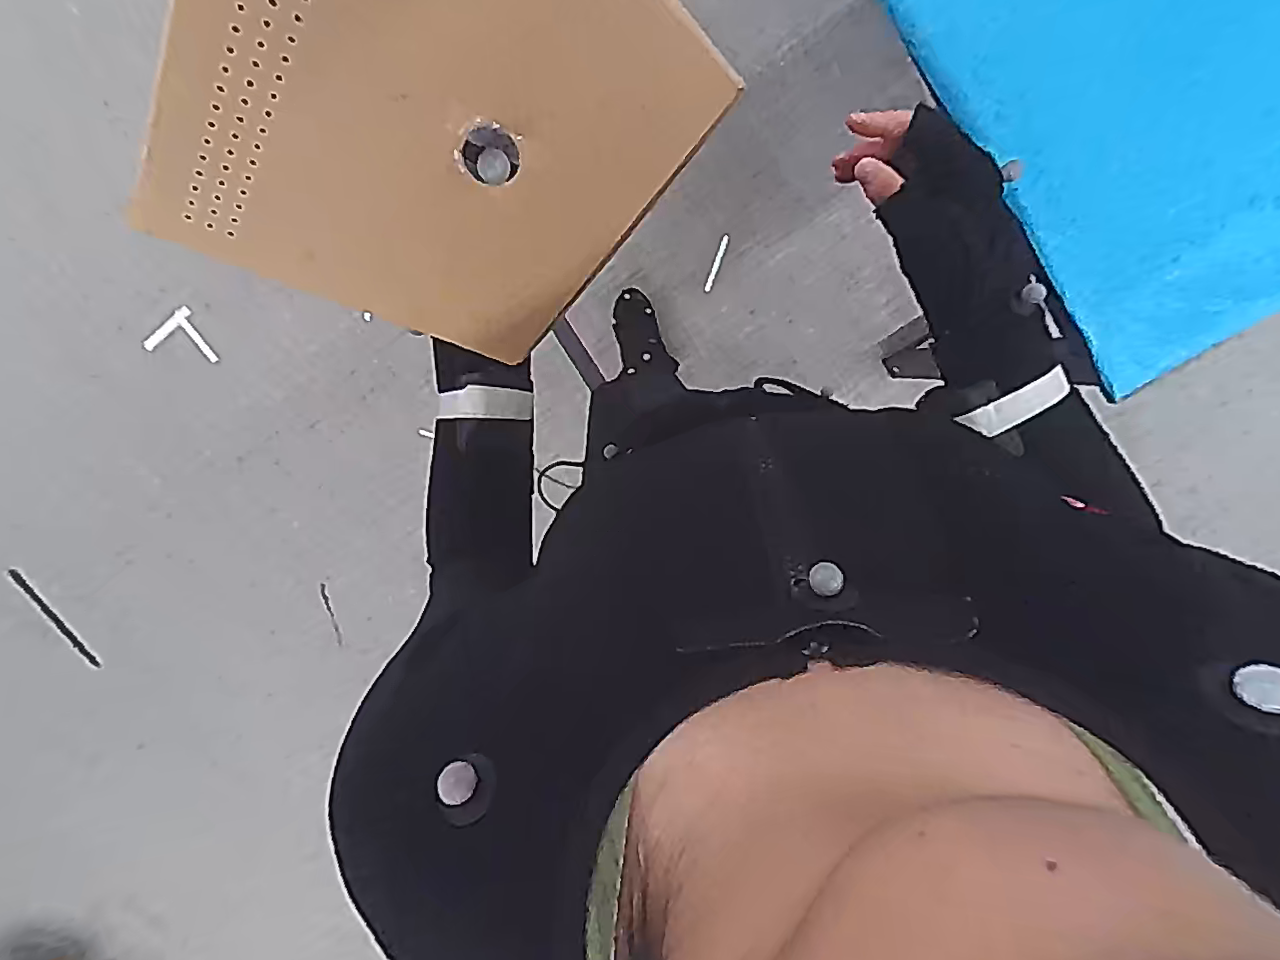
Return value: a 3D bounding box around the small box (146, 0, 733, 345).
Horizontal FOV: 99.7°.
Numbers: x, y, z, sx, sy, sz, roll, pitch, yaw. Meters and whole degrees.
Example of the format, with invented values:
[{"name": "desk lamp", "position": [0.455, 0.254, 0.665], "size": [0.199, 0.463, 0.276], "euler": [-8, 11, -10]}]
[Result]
[{"name": "small box", "position": [-0.097, -0.201, 0.246], "size": [0.179, 0.176, 0.168], "euler": [-40, 56, 33]}]
